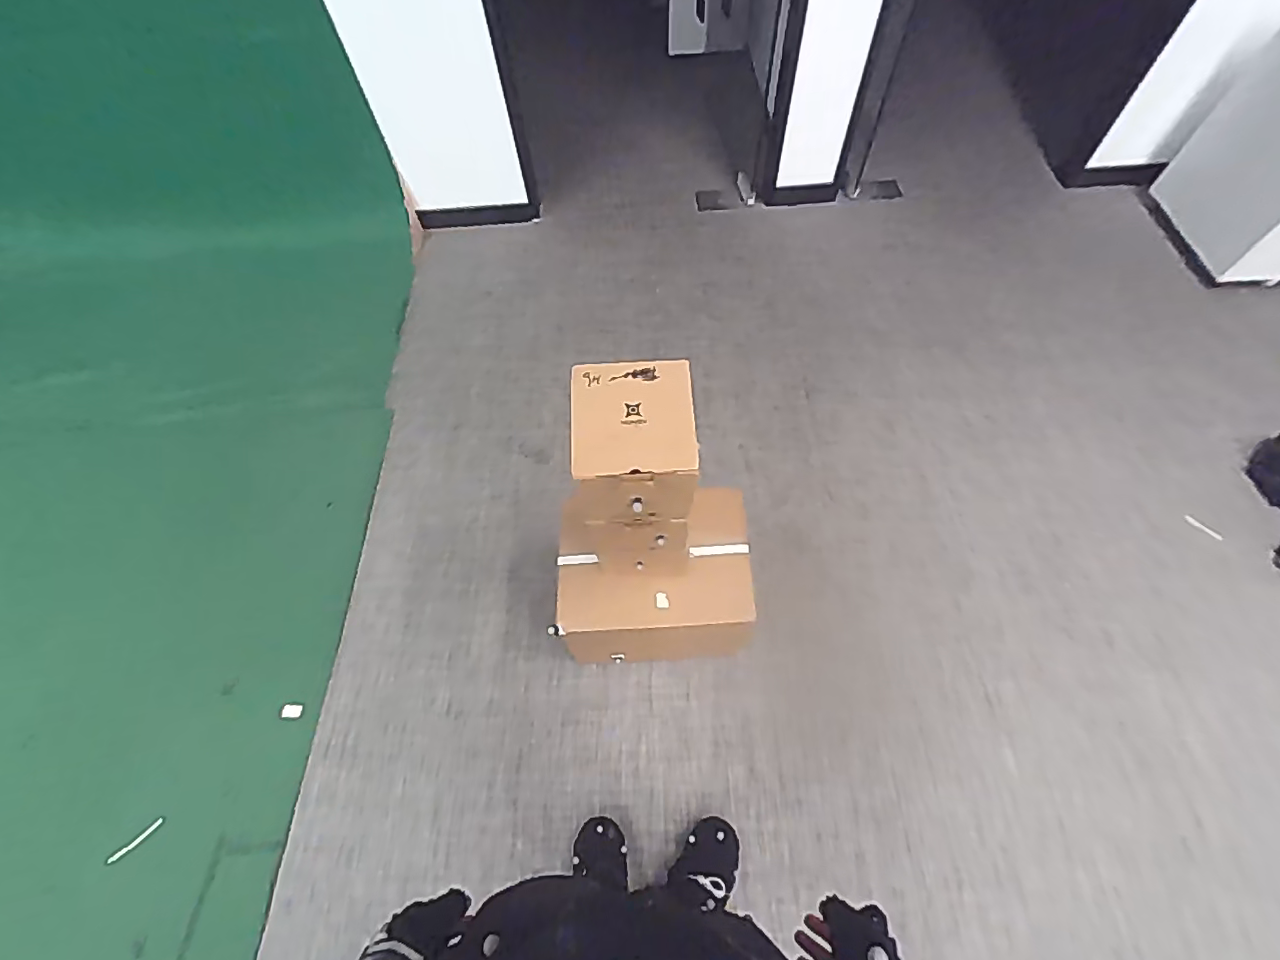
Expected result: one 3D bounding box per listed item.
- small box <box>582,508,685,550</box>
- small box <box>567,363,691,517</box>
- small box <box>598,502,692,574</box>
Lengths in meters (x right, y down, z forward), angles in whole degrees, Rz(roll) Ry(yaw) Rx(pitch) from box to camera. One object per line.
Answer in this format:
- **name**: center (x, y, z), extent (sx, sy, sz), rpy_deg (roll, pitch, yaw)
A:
- **small box**: center (-0.009, 0.020, 0.949), extent (0.168, 0.176, 0.179), rpy_deg (-3, 65, 0)
- **small box**: center (-0.014, -0.049, 0.801), extent (0.168, 0.176, 0.179), rpy_deg (-3, 67, 0)
- **small box**: center (0.007, 0.089, 1.094), extent (0.179, 0.176, 0.168), rpy_deg (-3, 67, 1)
